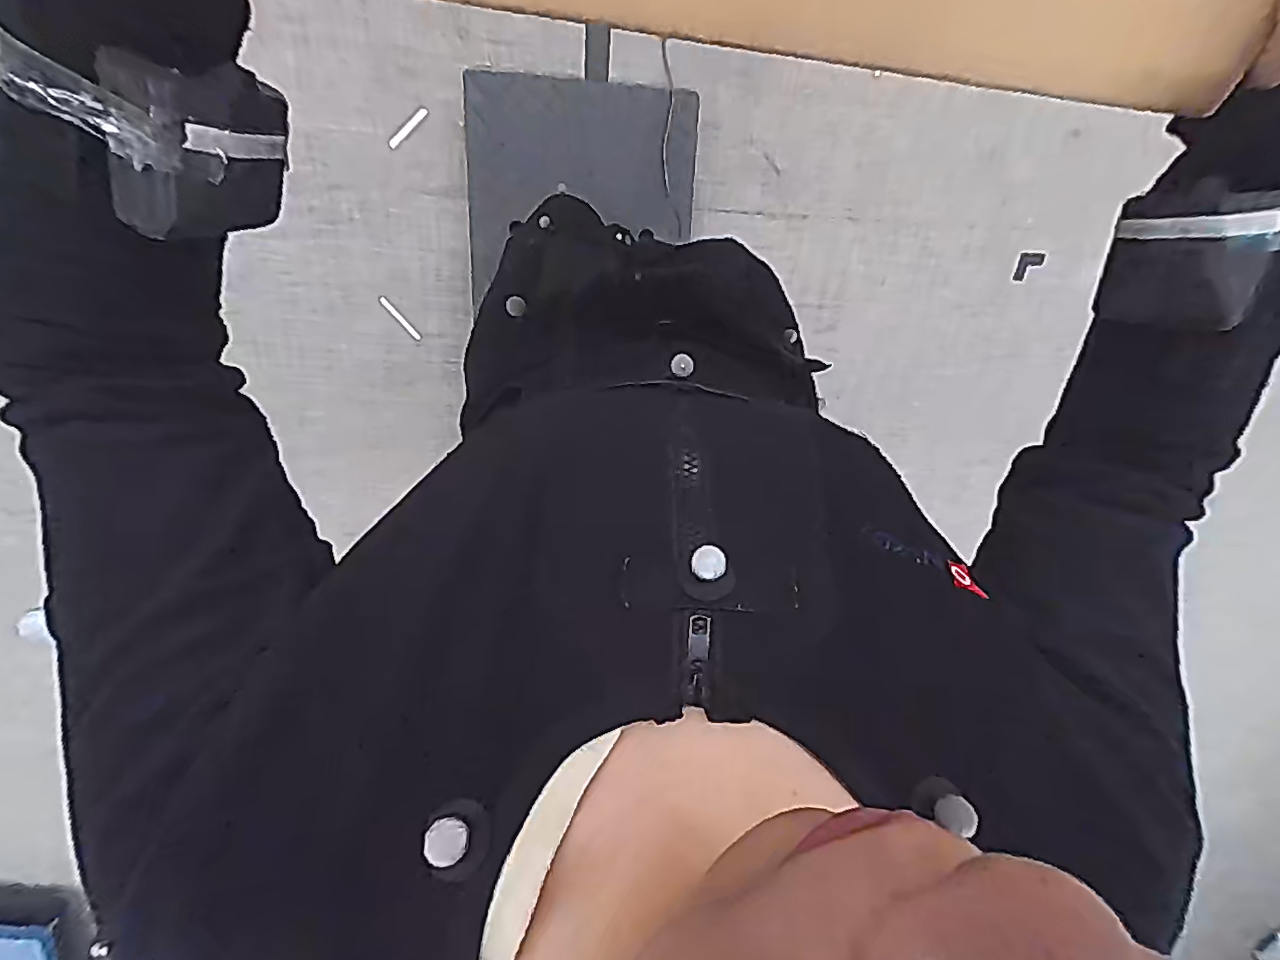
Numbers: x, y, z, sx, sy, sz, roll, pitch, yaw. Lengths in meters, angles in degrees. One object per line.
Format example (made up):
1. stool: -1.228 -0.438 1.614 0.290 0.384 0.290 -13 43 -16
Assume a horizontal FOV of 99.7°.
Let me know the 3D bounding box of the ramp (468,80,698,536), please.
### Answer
1. ramp: -0.138 -0.339 1.267 0.509 0.206 0.991 0 116 -5
